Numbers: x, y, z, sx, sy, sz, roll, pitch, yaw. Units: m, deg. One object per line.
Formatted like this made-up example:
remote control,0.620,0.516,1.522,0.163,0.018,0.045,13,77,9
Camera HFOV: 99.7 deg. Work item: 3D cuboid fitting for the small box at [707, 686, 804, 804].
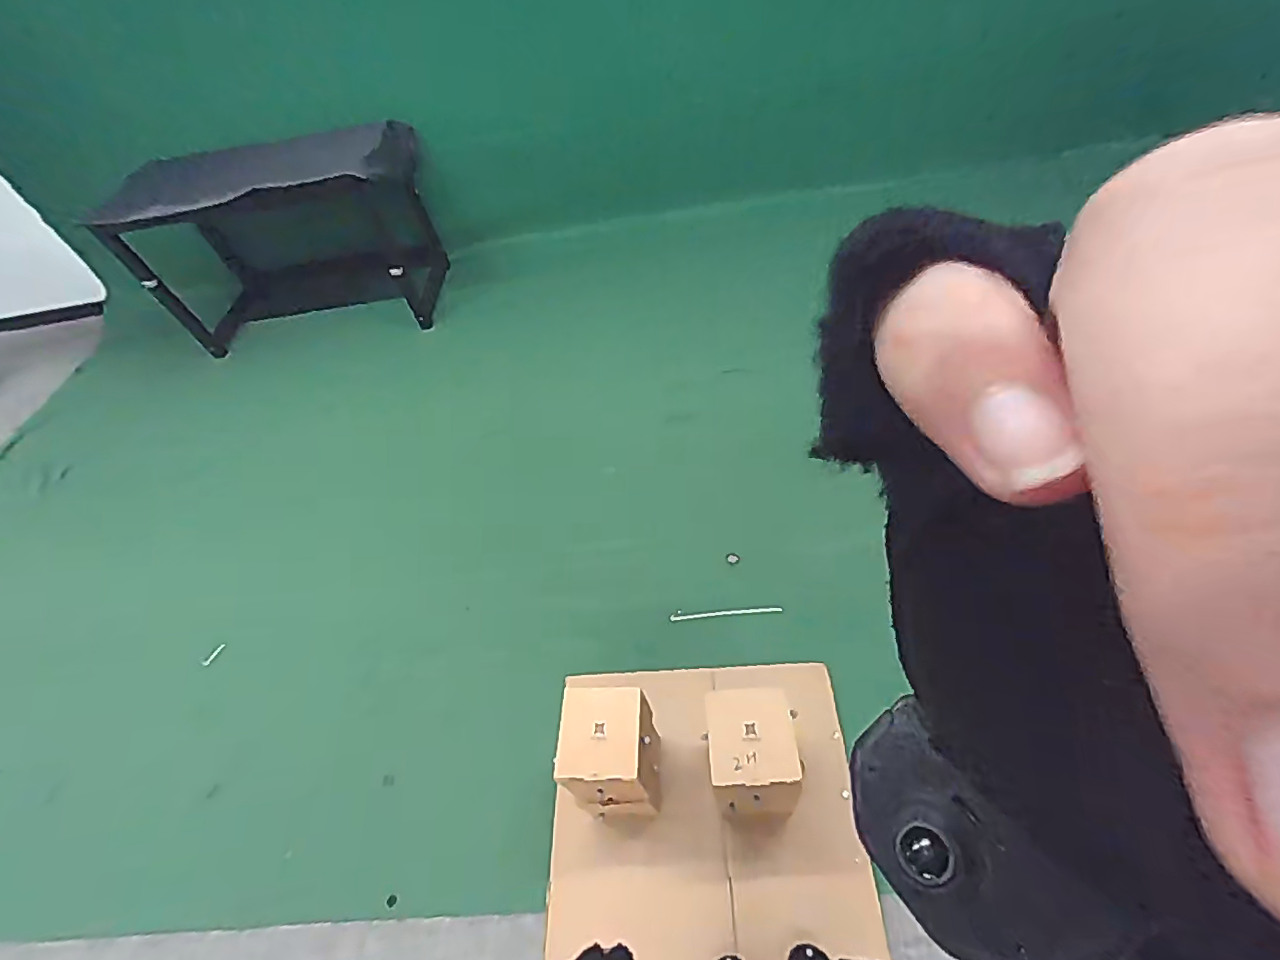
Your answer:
small box,0.225,0.535,1.087,0.168,0.176,0.179,-7,49,7

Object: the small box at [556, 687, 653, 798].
small box,-0.065,0.550,1.134,0.168,0.176,0.179,-4,50,8

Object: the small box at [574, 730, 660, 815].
small box,-0.045,0.663,1.250,0.168,0.176,0.179,-5,49,8
